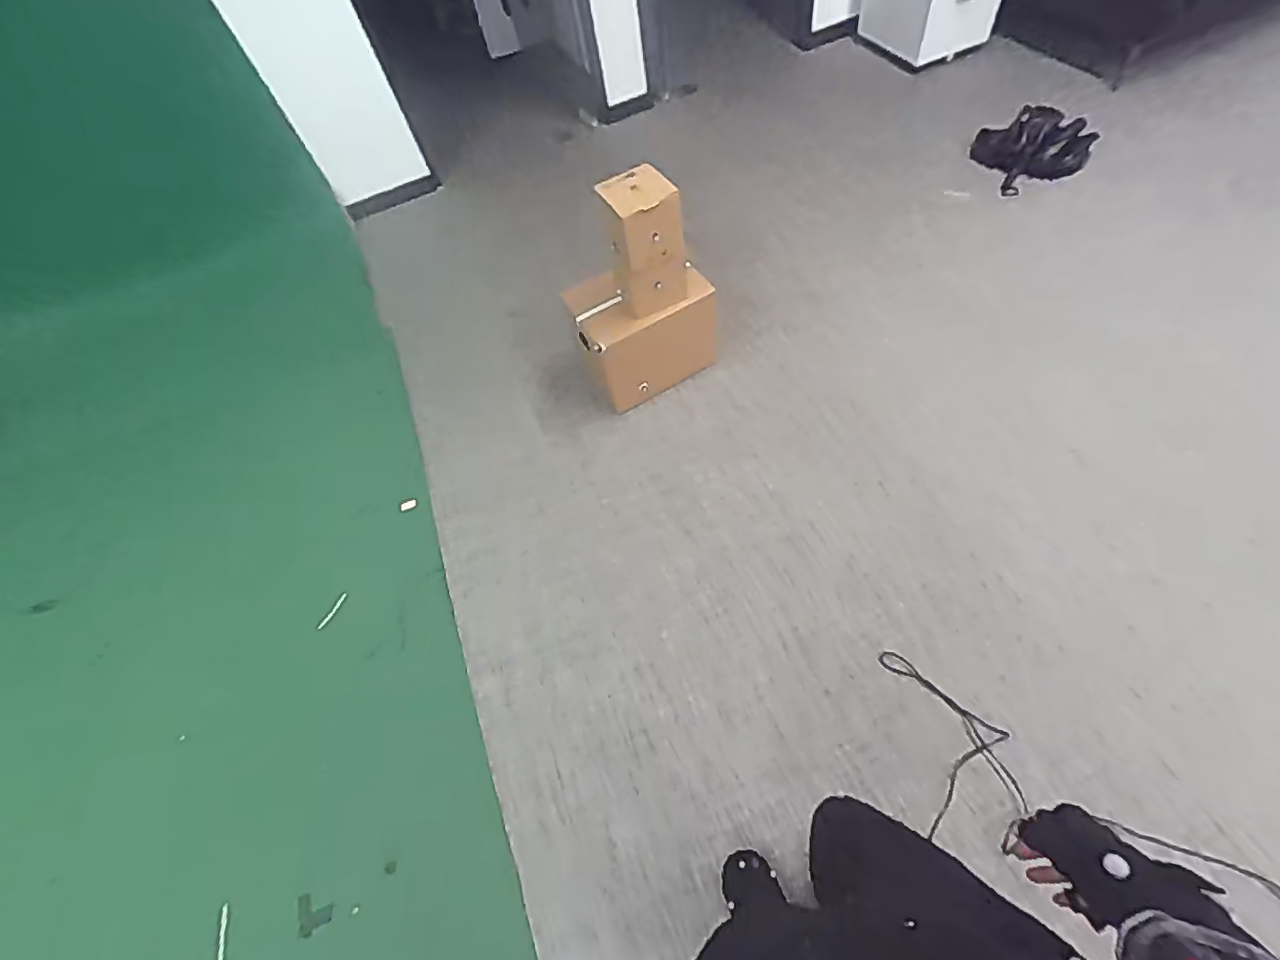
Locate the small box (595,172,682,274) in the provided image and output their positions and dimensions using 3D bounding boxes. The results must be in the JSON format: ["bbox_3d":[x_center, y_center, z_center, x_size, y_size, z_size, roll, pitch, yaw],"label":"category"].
[{"bbox_3d":[0.001,-0.684,1.459,0.168,0.176,0.179,-27,59,-8],"label":"small box"}]

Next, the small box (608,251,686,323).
[{"bbox_3d":[0.026,-0.600,1.597,0.179,0.176,0.168,-26,58,-6],"label":"small box"}]
